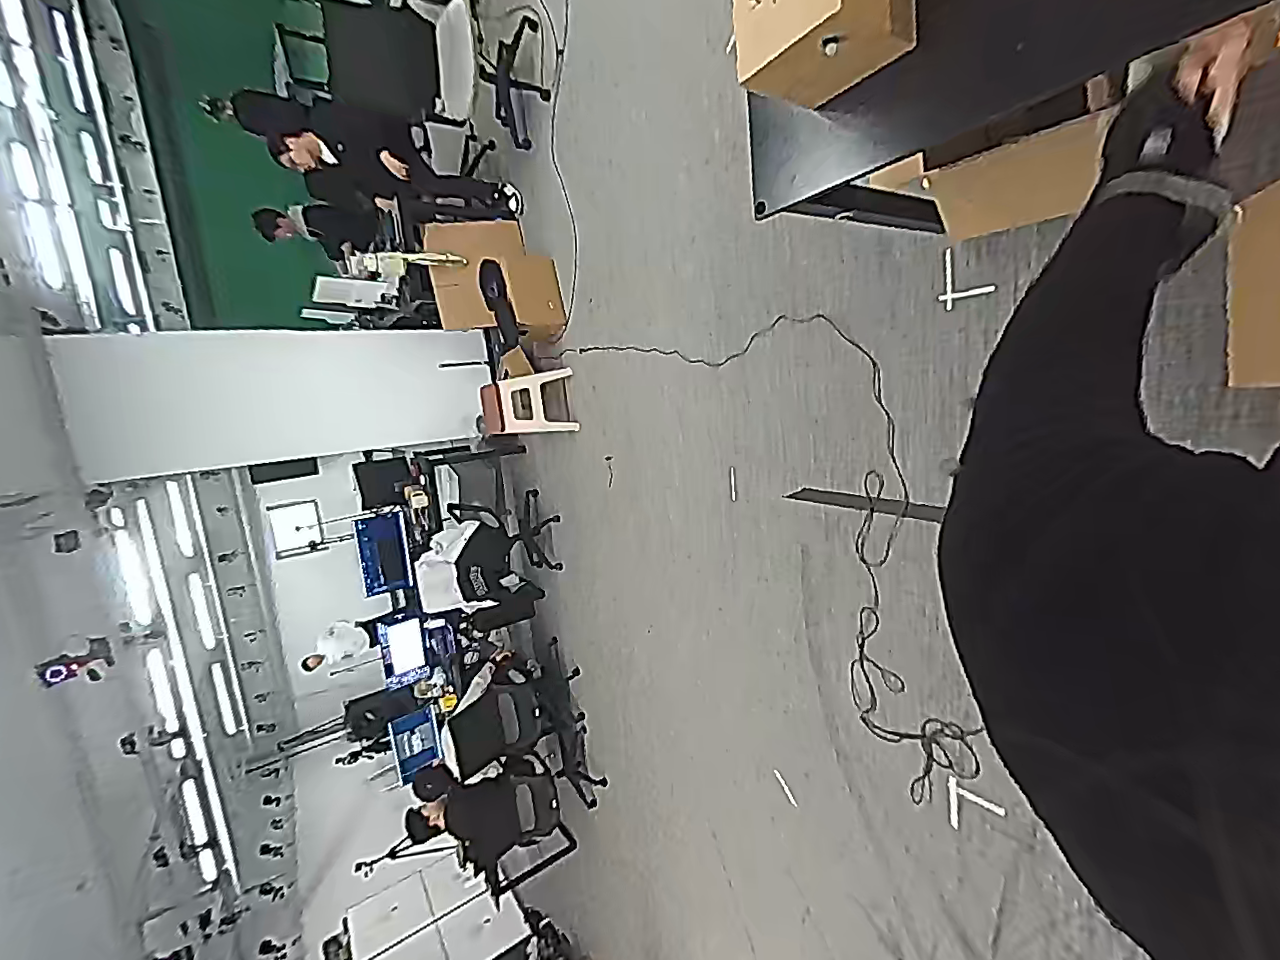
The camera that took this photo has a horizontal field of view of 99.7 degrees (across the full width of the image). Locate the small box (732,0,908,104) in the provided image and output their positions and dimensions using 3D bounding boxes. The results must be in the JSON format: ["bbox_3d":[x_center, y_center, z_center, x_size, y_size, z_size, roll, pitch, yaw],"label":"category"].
[{"bbox_3d":[0.248,-0.658,0.742,0.179,0.176,0.168,6,105,56],"label":"small box"}]
